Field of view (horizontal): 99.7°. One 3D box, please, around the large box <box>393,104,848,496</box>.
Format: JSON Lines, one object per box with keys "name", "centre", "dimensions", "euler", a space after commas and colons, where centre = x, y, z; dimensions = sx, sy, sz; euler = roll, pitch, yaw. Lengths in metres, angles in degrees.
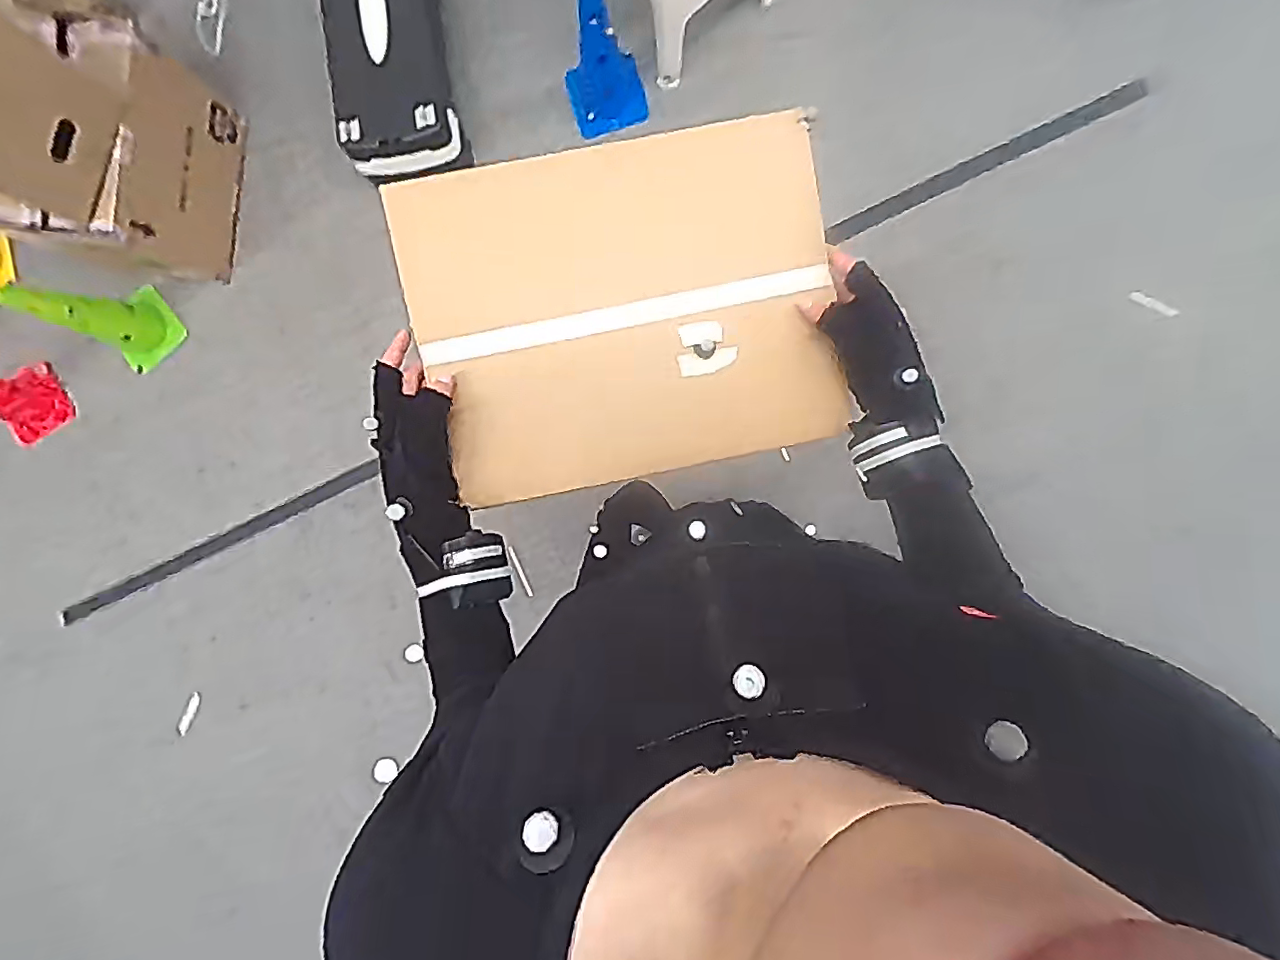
{"name": "large box", "centre": [-0.019, -0.188, 0.674], "dimensions": [0.408, 0.320, 0.320], "euler": [-11, 98, -3]}
